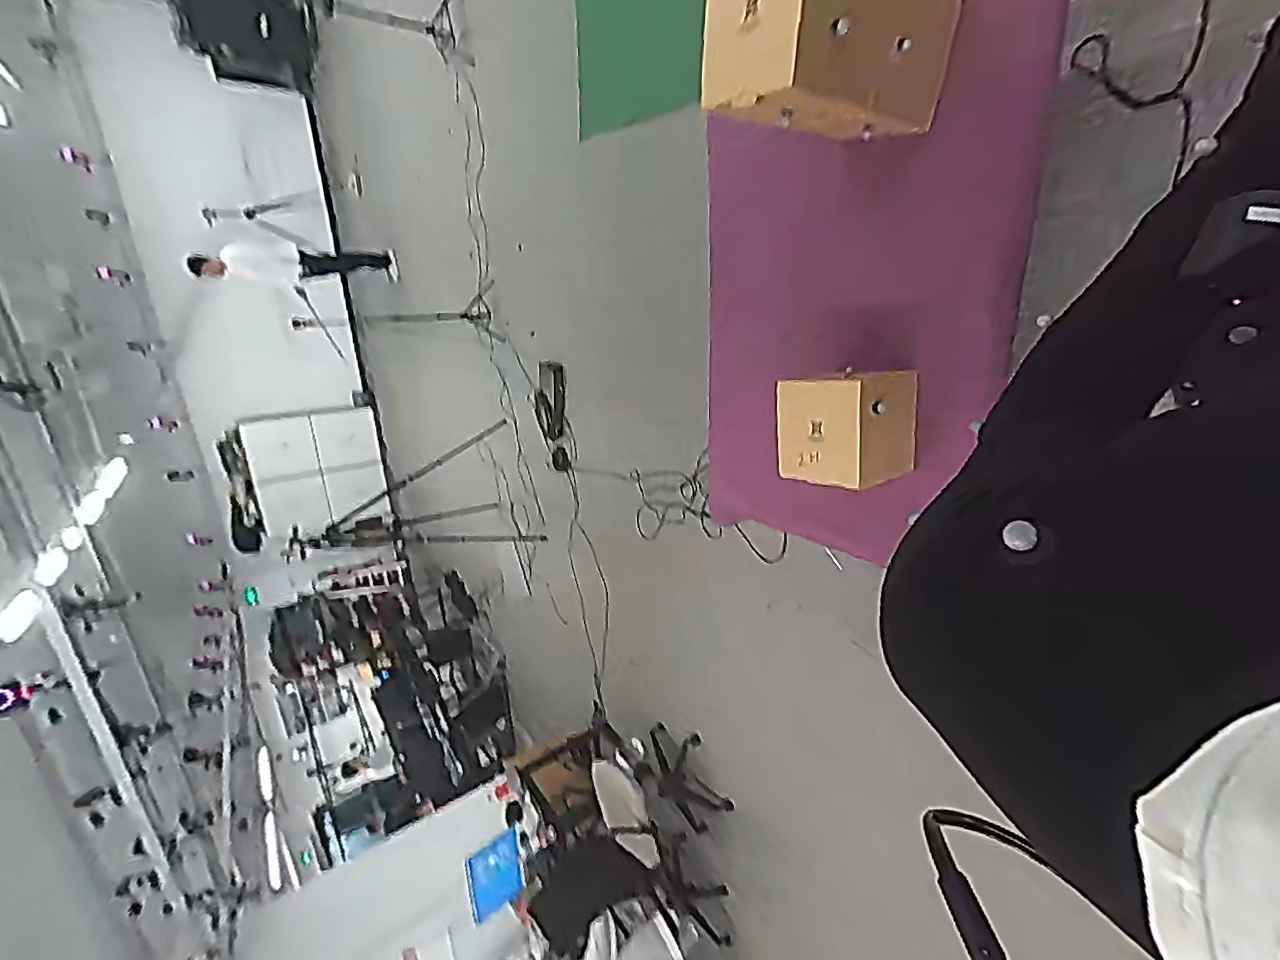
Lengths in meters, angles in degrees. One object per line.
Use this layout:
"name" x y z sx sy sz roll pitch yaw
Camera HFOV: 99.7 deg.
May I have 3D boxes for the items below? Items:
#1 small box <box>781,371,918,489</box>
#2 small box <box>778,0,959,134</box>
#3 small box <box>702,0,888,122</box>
"small box" 0.369 -0.099 0.953 0.168 0.176 0.179 14 115 53
"small box" 0.332 -0.620 0.797 0.168 0.176 0.179 34 129 45
"small box" 0.201 -0.582 0.707 0.168 0.176 0.179 30 128 46
